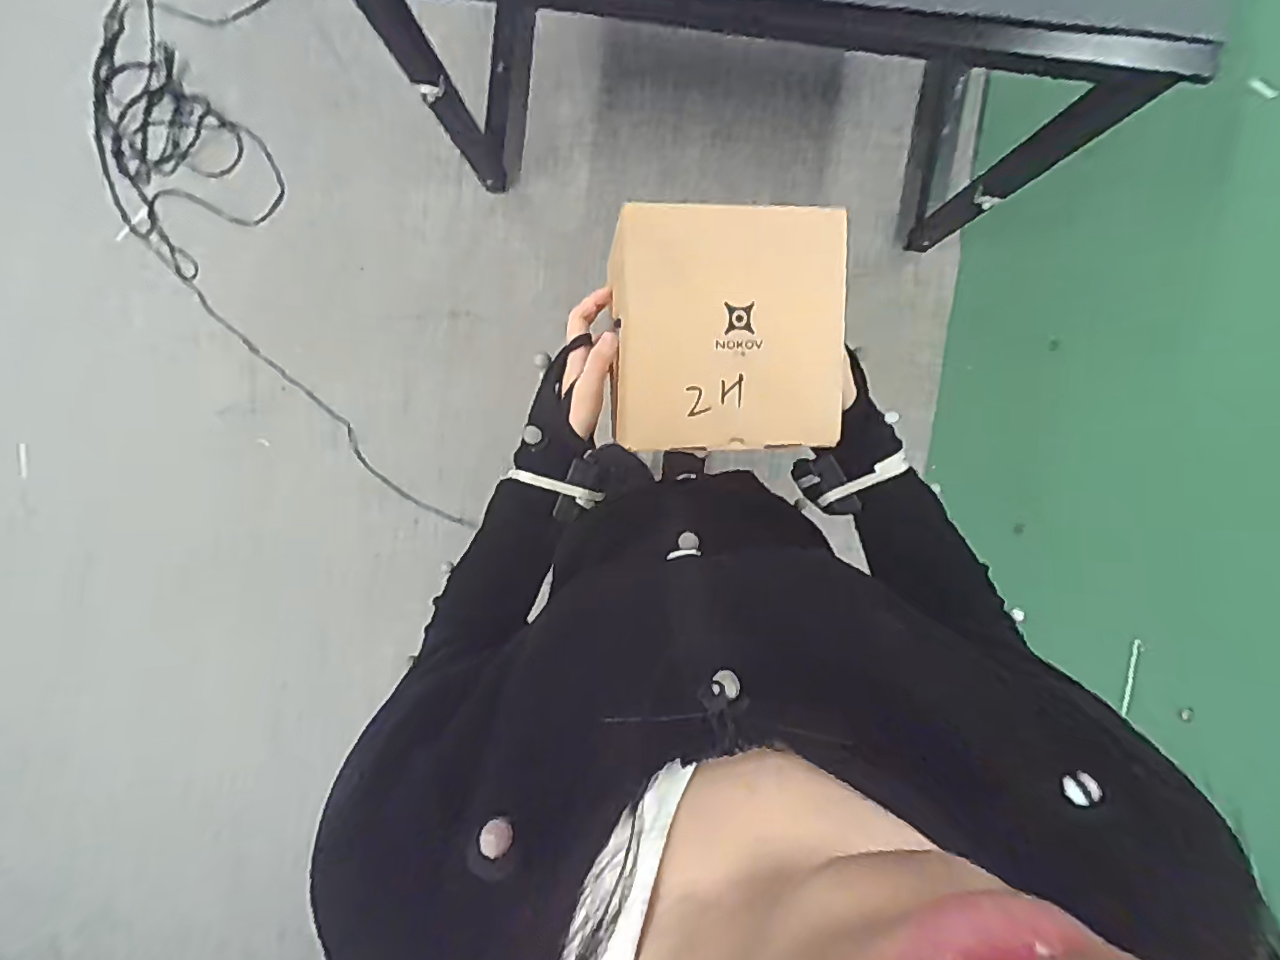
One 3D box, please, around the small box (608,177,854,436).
[{"bbox_3d":[0.062,-0.128,0.458,0.168,0.176,0.179,-3,97,-7],"label":"small box"}]
